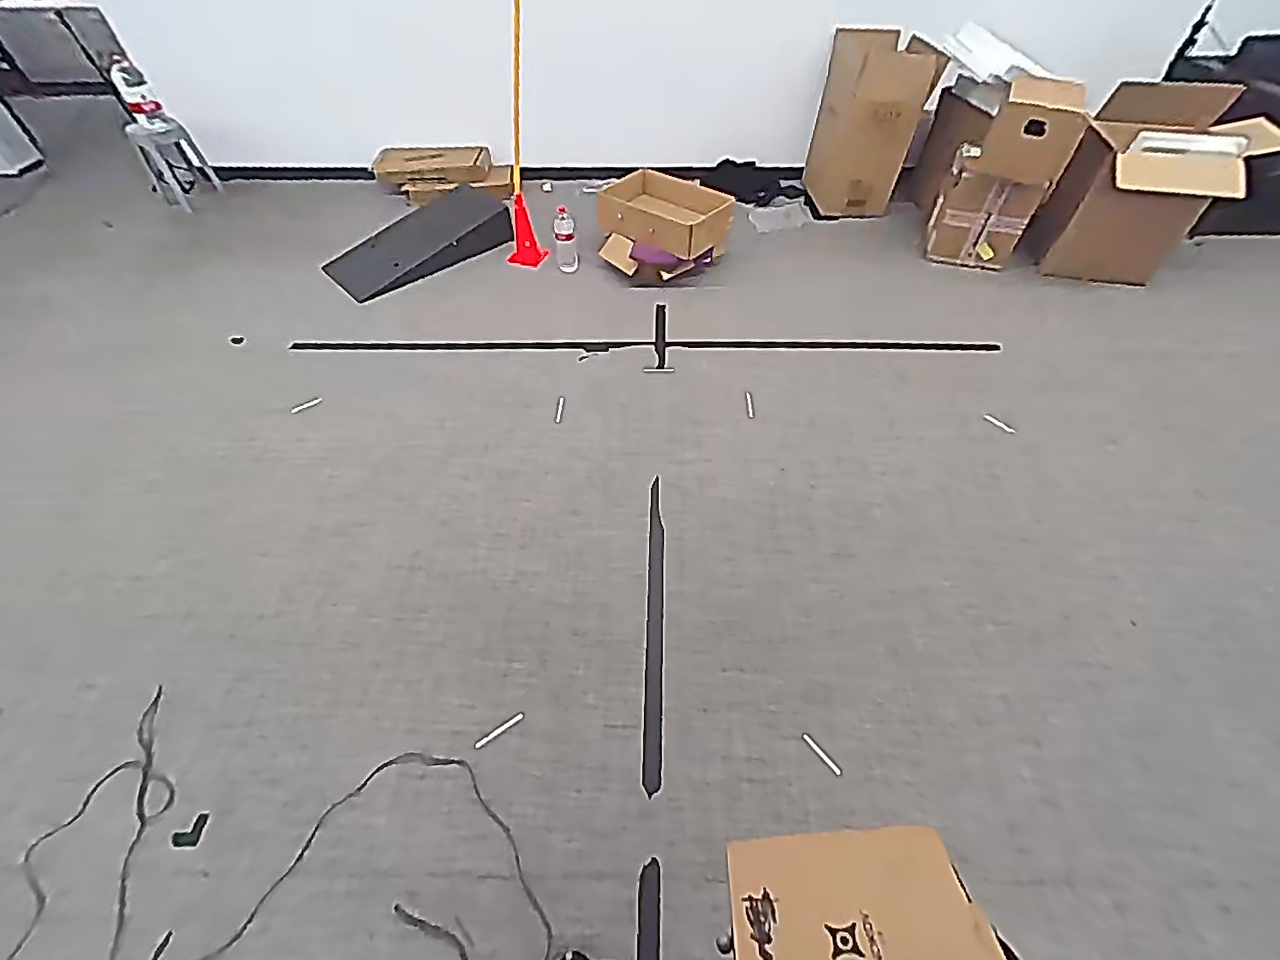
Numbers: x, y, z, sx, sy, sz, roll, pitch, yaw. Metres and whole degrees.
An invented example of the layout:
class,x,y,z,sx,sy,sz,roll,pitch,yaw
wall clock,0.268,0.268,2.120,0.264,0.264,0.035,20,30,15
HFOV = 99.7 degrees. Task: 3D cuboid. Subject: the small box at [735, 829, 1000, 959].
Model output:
class,x,y,z,sx,sy,sz,roll,pitch,yaw
small box,0.175,0.408,0.413,0.179,0.176,0.168,-9,16,7
